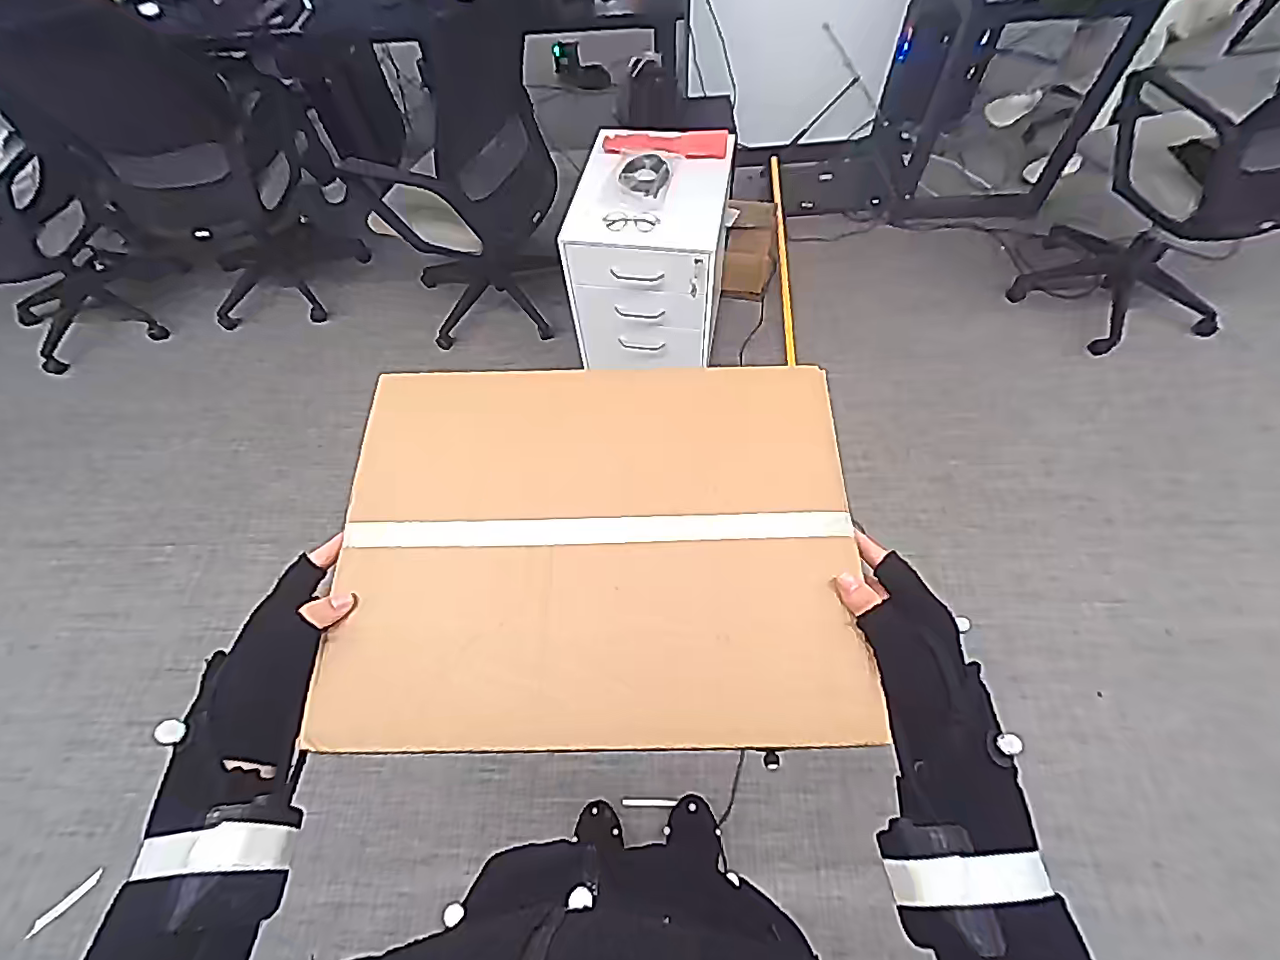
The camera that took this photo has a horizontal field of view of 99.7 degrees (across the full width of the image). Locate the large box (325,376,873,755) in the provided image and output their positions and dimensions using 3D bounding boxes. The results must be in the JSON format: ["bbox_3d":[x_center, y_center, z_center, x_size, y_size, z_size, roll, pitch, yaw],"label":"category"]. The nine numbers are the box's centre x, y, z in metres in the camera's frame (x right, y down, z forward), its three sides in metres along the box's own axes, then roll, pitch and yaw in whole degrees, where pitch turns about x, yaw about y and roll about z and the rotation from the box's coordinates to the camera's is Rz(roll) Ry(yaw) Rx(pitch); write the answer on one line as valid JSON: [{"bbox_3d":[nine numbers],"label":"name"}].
[{"bbox_3d":[-0.029,0.109,0.581,0.408,0.320,0.320,-1,65,1],"label":"large box"}]
